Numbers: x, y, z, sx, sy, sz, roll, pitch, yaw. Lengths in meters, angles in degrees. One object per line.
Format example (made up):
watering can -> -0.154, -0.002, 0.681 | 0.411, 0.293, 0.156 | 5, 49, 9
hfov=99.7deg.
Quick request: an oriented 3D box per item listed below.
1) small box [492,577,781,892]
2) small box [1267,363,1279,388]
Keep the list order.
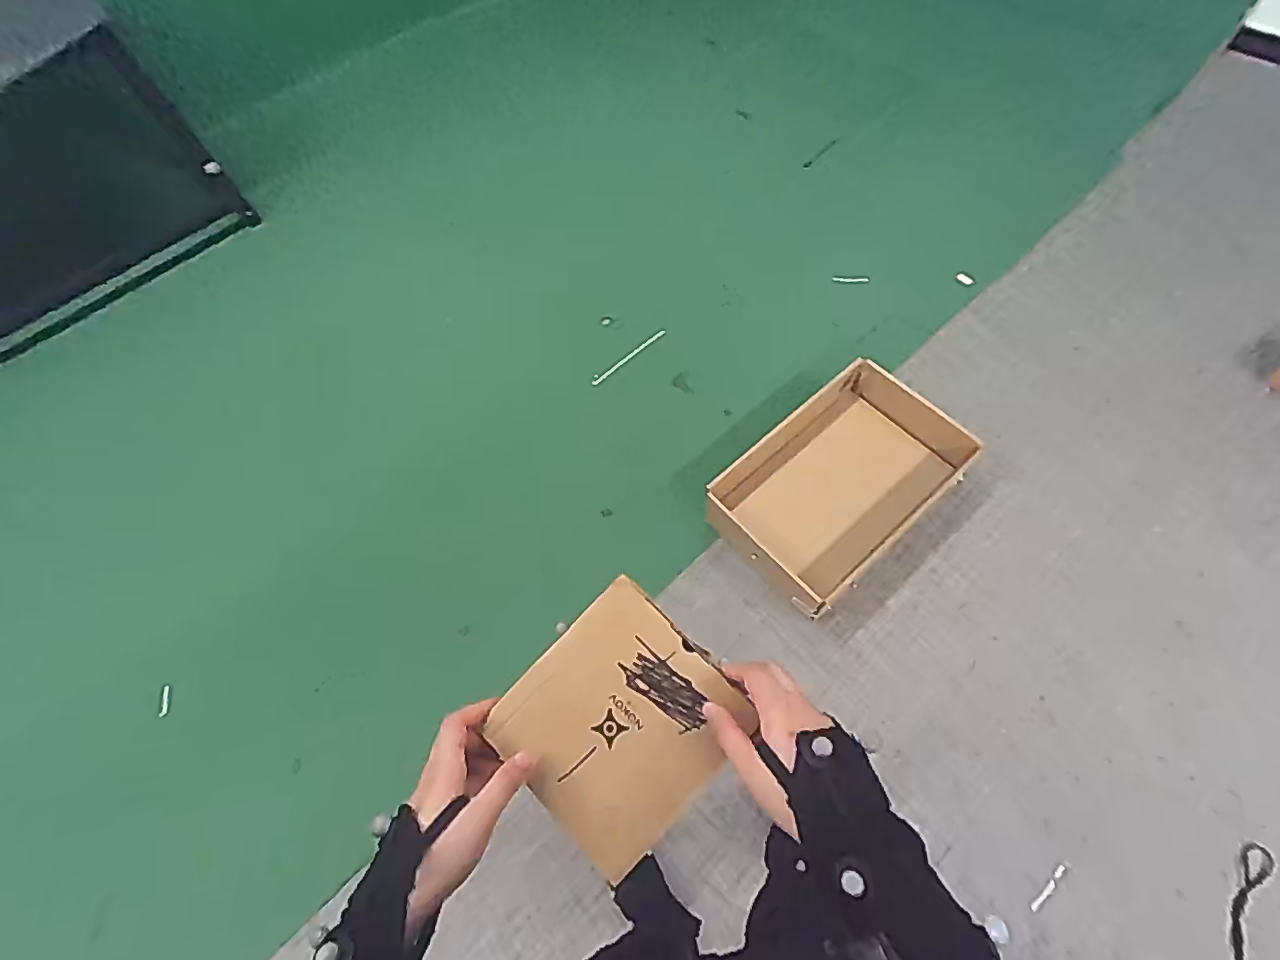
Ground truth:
small box -> -0.001, 0.211, 0.506 | 0.168, 0.176, 0.179 | 43, 83, 11
small box -> 1.912, -0.314, 1.482 | 0.179, 0.176, 0.168 | -30, 65, -9
